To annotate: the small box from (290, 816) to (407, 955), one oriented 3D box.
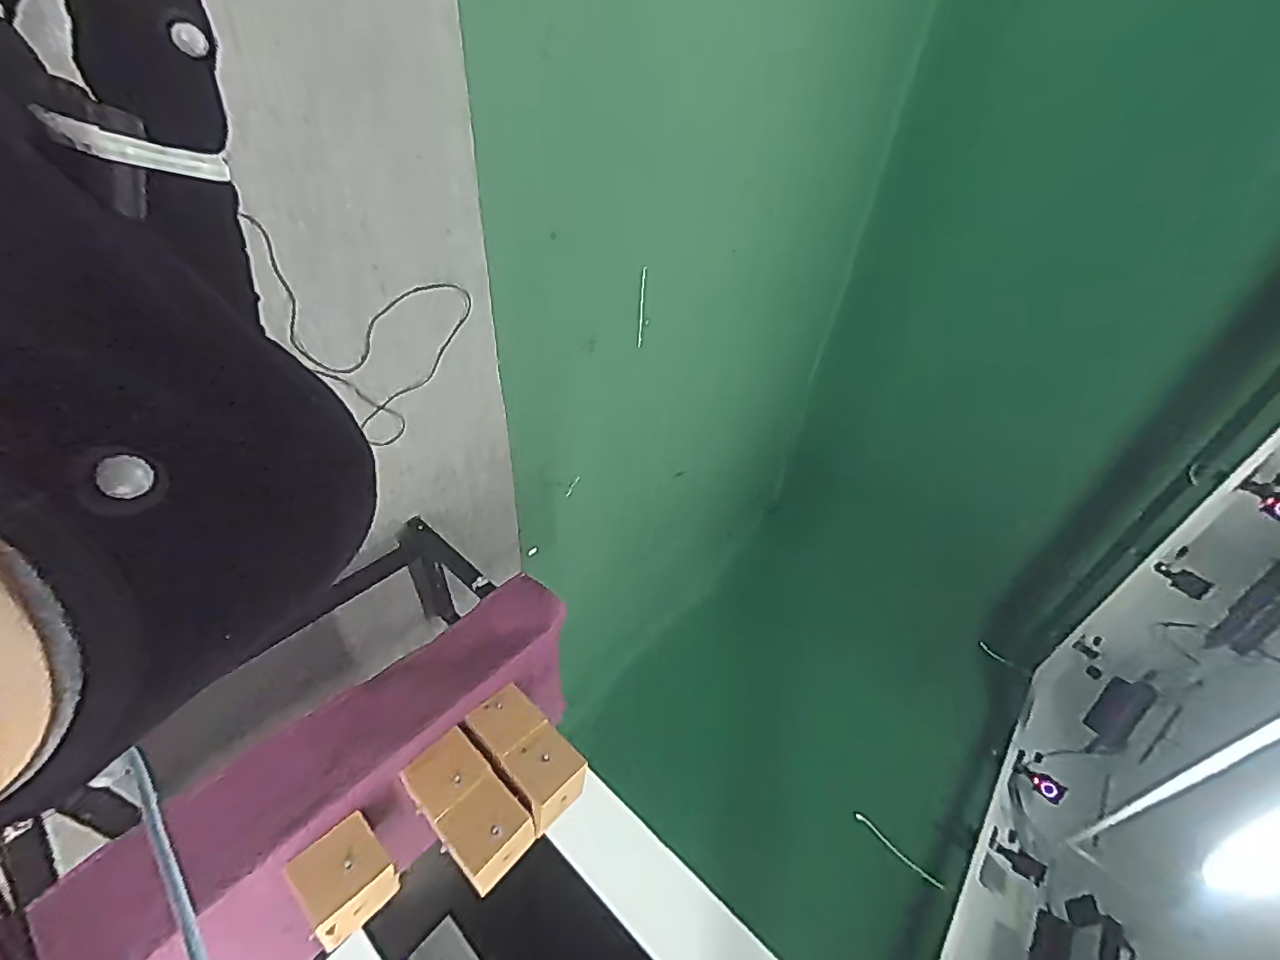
[{"bbox_3d":[-0.686,0.950,1.281,0.179,0.176,0.168,-30,140,-43],"label":"small box"}]
